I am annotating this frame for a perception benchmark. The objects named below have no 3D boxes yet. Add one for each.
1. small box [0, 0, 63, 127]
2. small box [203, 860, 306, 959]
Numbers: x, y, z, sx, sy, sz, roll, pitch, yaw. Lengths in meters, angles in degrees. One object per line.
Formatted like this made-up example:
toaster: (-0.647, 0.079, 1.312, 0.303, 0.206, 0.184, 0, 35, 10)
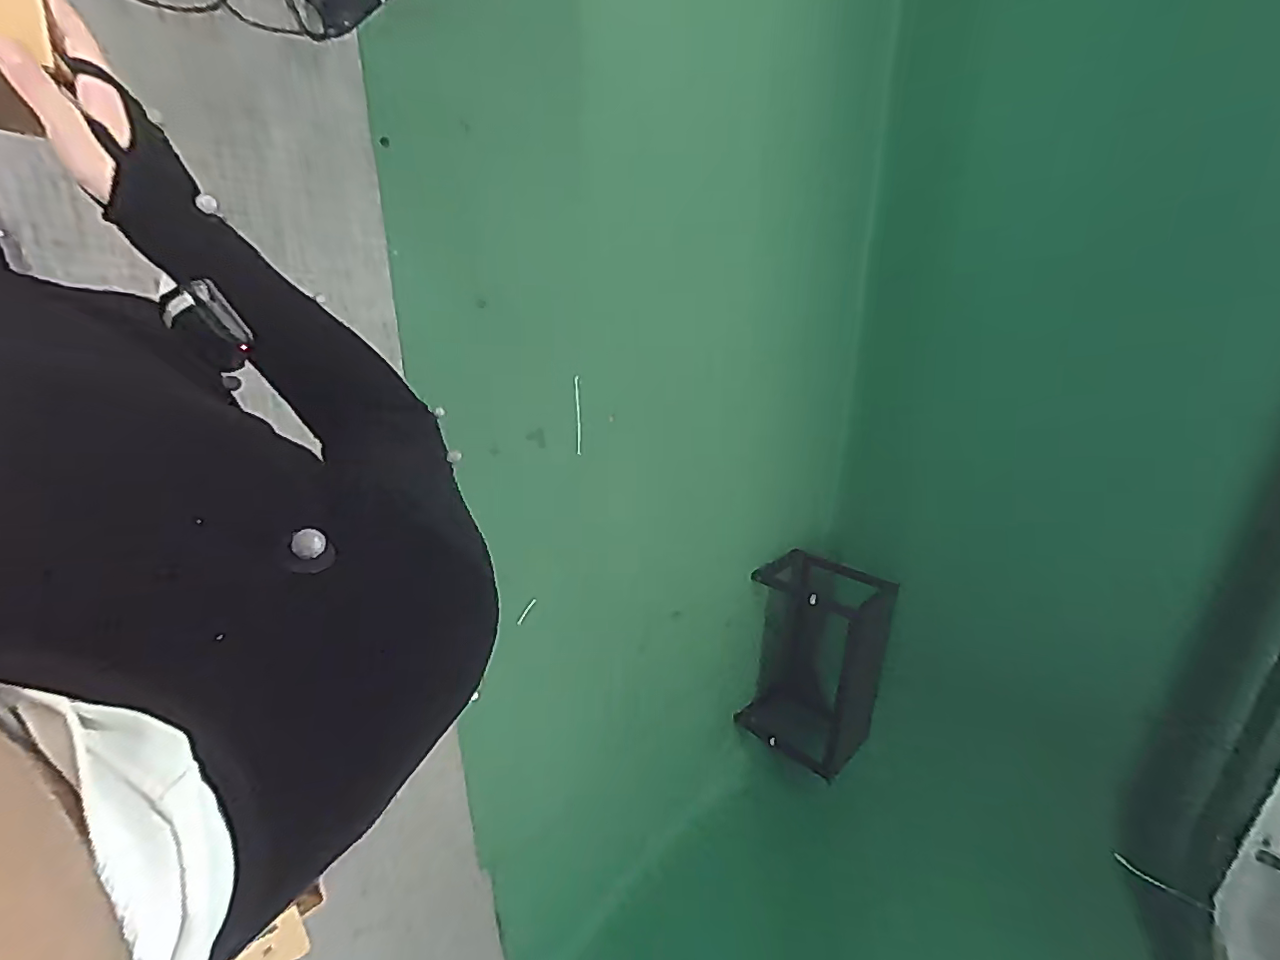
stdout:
small box: (-0.538, -0.383, 0.375, 0.168, 0.176, 0.179, -13, 110, -43)
small box: (-1.003, 1.153, 1.409, 0.168, 0.176, 0.179, -21, 120, -43)
